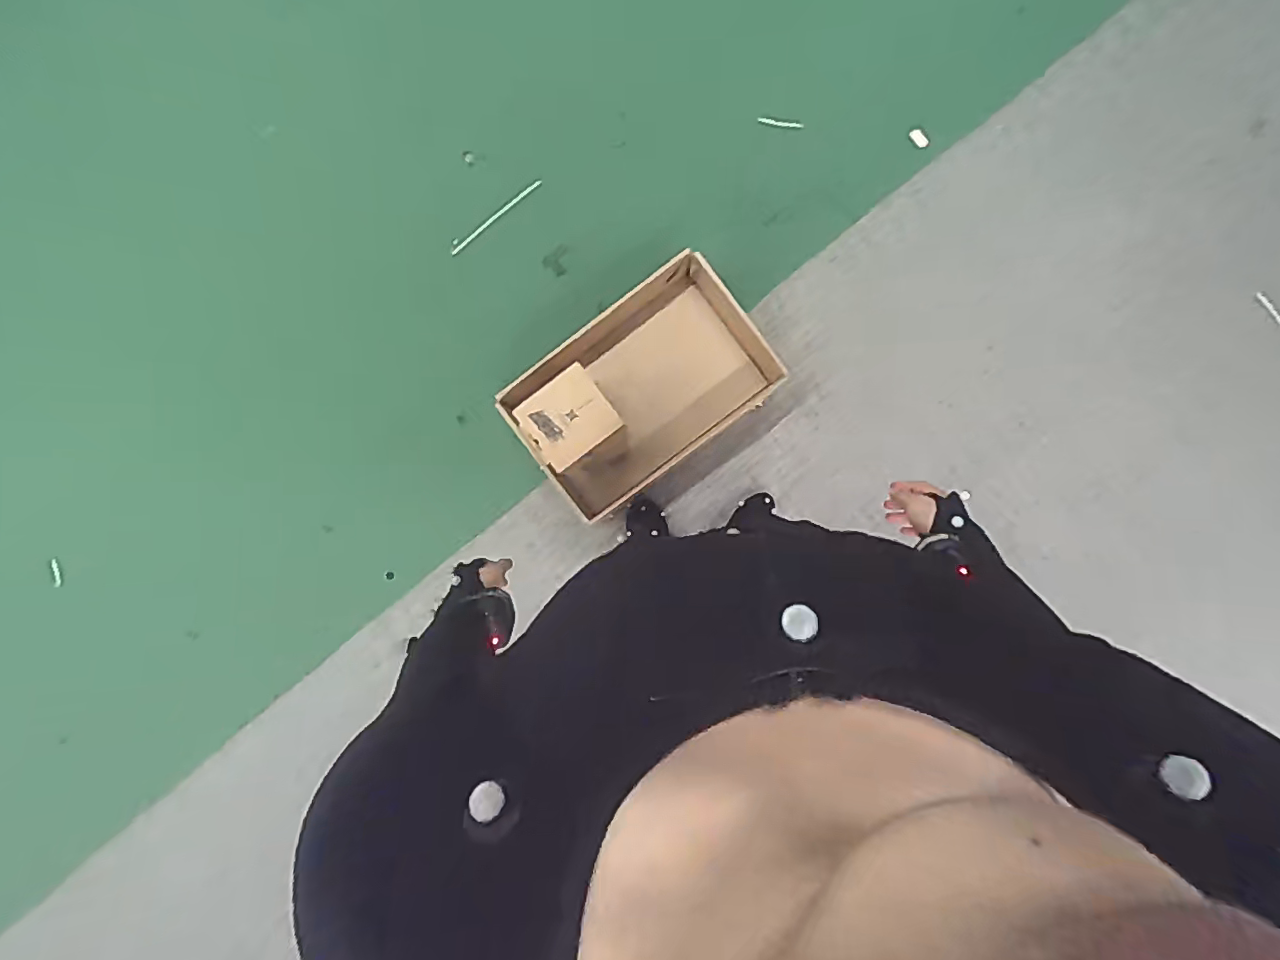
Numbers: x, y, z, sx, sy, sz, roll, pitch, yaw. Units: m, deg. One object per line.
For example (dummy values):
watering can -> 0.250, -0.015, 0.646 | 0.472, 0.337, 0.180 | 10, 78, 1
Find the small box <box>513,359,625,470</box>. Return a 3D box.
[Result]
small box -> -0.146, -0.135, 1.195 | 0.179, 0.176, 0.168 | -38, 91, 1
